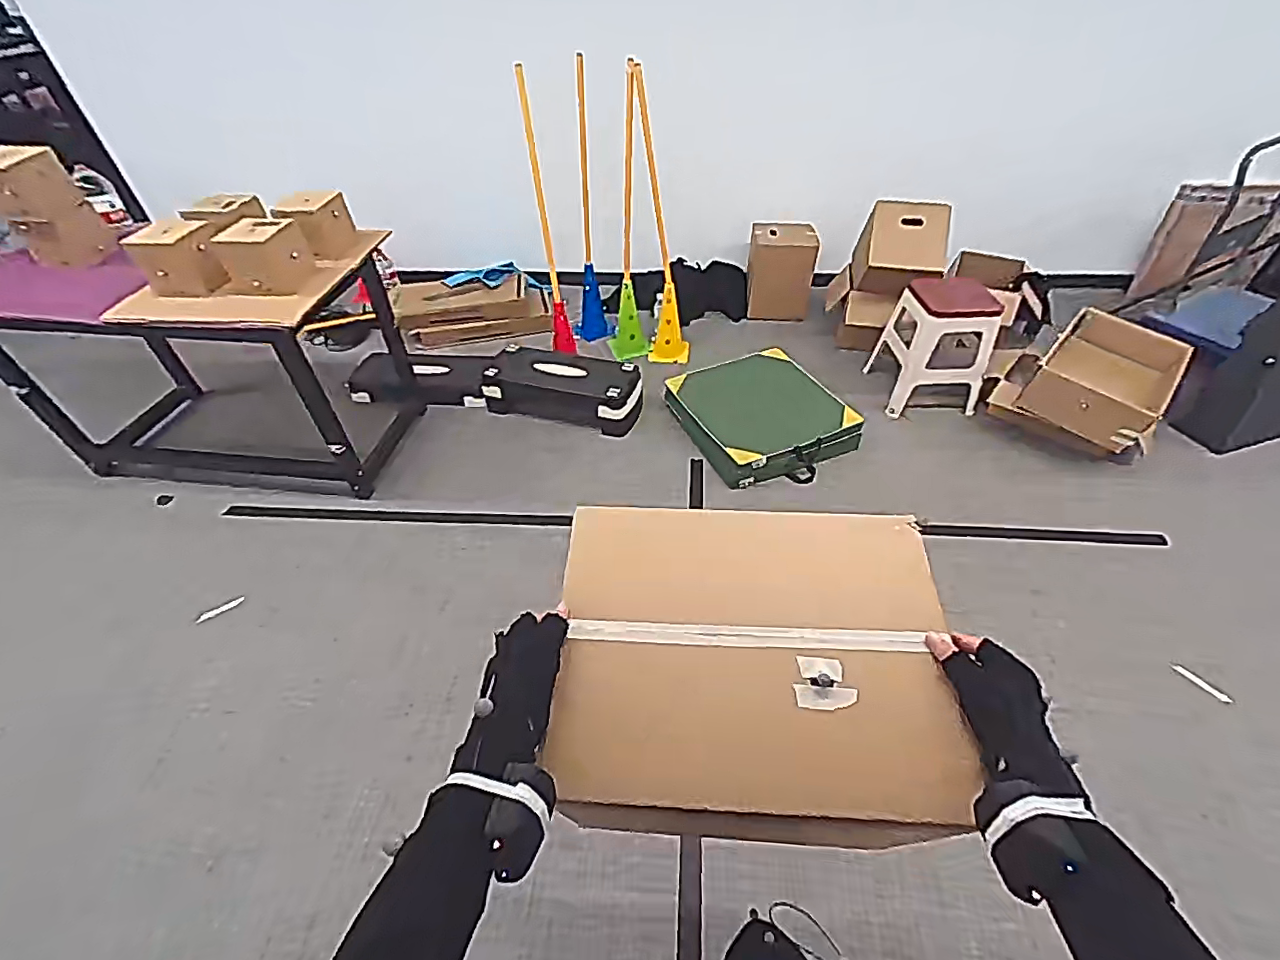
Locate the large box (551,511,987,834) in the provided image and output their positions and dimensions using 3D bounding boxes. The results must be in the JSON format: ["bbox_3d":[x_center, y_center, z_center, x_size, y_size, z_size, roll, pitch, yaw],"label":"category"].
[{"bbox_3d":[0.123,0.254,0.696,0.408,0.320,0.320,2,54,3],"label":"large box"}]
